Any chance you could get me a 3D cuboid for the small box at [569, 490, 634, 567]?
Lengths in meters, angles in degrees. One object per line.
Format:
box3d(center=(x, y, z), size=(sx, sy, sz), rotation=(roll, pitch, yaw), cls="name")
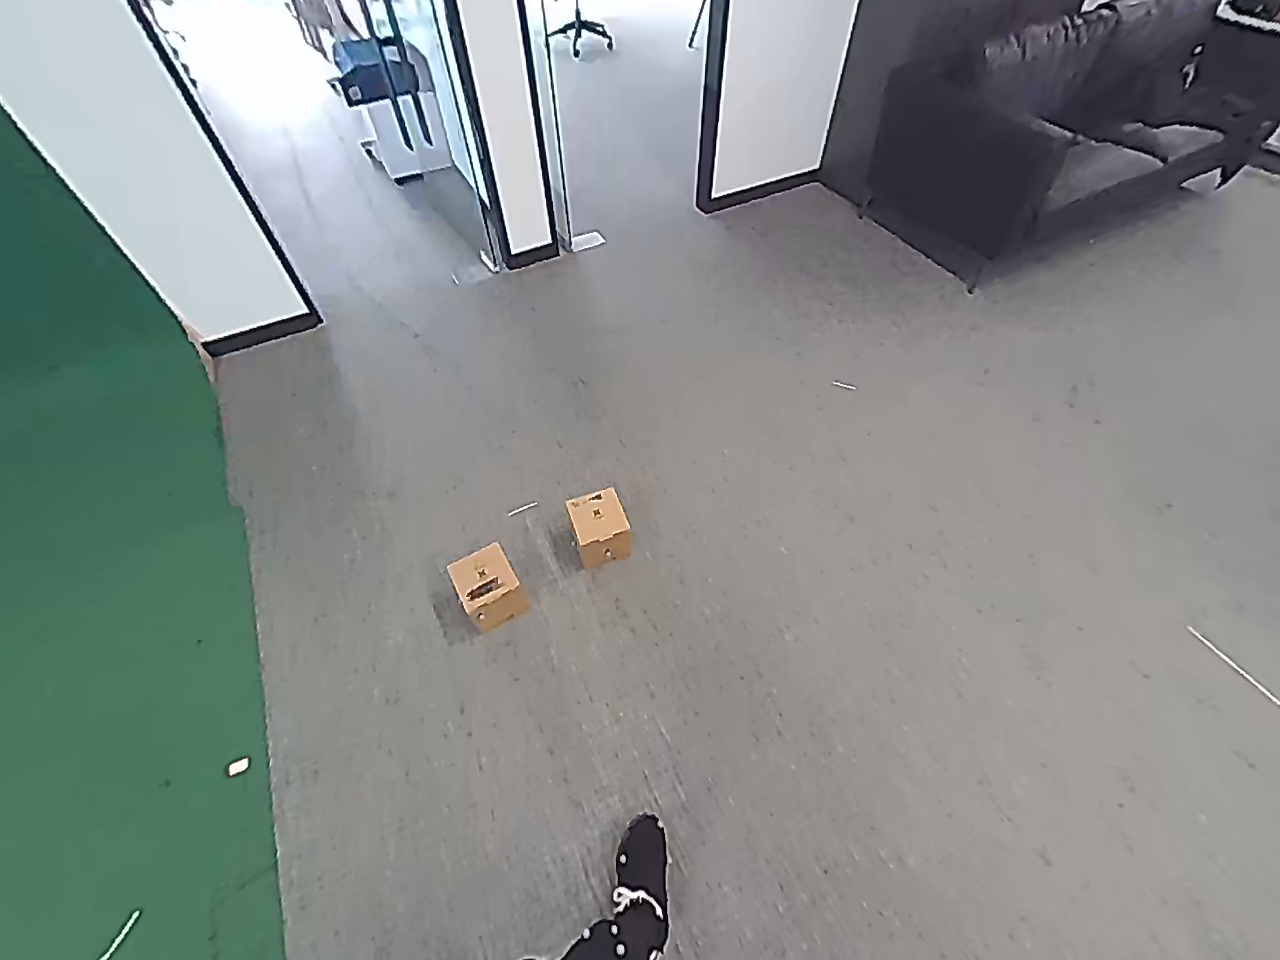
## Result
box3d(center=(-0.122, 0.166, 1.766), size=(0.168, 0.176, 0.179), rotation=(-16, 56, -12), cls="small box")
